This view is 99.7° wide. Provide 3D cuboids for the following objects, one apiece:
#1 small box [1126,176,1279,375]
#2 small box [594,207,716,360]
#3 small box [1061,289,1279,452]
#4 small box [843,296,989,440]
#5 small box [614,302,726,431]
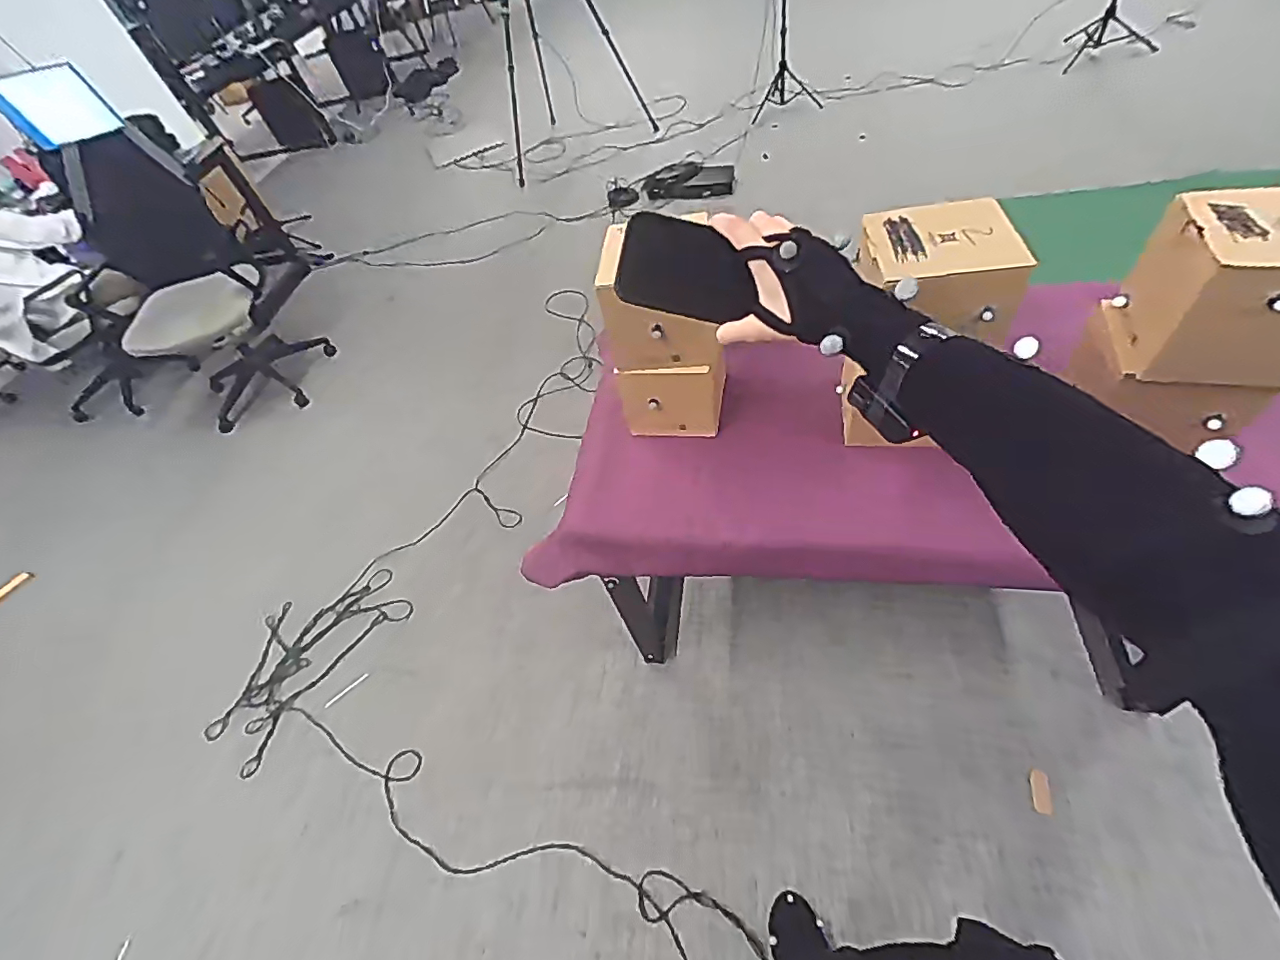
[{"bbox_3d":[0.738,-0.244,0.656,0.179,0.176,0.168,7,55,18],"label":"small box"},{"bbox_3d":[0.035,-0.310,0.882,0.168,0.176,0.179,-2,53,12],"label":"small box"},{"bbox_3d":[0.764,-0.159,0.794,0.179,0.176,0.168,7,55,19],"label":"small box"},{"bbox_3d":[0.439,-0.179,0.890,0.179,0.176,0.168,1,54,15],"label":"small box"},{"bbox_3d":[0.066,-0.205,1.005,0.168,0.176,0.179,2,54,16],"label":"small box"}]
